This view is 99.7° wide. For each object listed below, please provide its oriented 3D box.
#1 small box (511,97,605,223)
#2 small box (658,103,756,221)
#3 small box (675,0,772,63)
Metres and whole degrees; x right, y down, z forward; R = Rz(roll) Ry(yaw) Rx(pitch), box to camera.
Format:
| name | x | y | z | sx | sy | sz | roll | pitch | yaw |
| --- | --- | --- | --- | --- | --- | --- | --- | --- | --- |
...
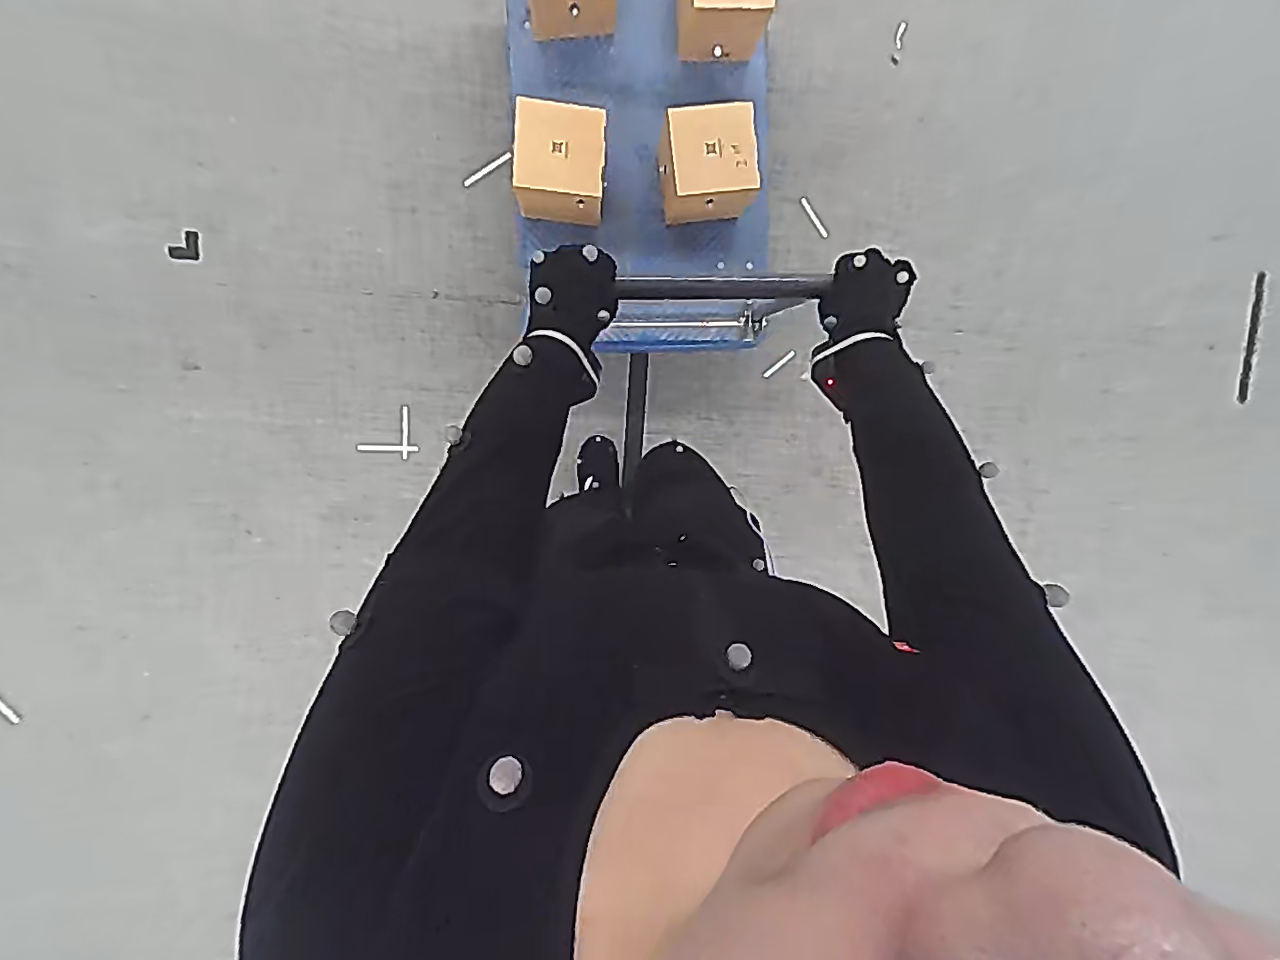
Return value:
| name | x | y | z | sx | sy | sz | roll | pitch | yaw |
| --- | --- | --- | --- | --- | --- | --- | --- | --- | --- |
| small box | -0.169 | -0.658 | 1.134 | 0.179 | 0.176 | 0.168 | 3 | 96 | -8 |
| small box | 0.136 | -0.673 | 1.162 | 0.179 | 0.176 | 0.168 | -8 | 98 | -5 |
| small box | 0.167 | -1.014 | 1.122 | 0.168 | 0.176 | 0.179 | -4 | 99 | -5 |
